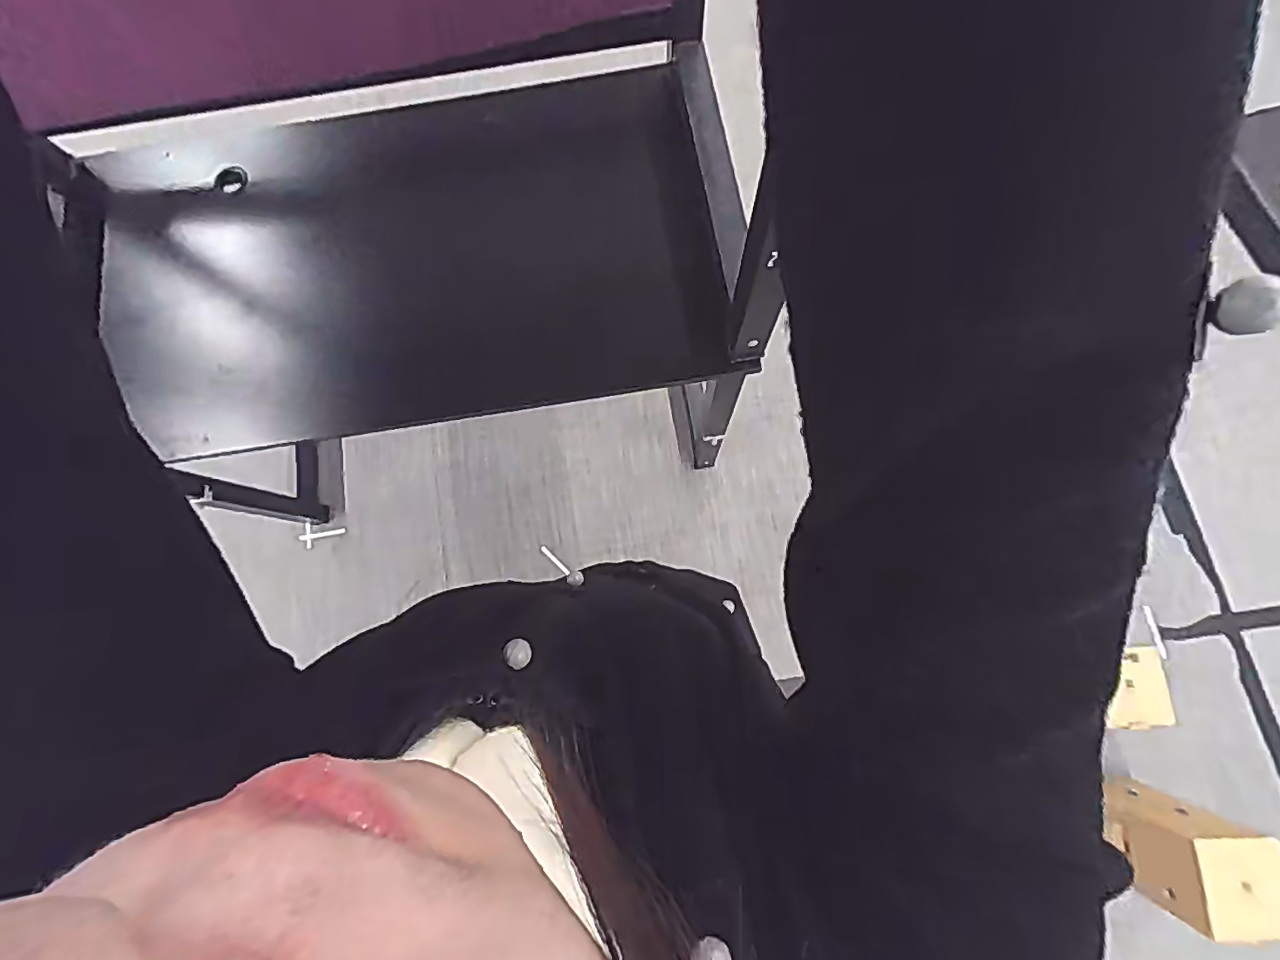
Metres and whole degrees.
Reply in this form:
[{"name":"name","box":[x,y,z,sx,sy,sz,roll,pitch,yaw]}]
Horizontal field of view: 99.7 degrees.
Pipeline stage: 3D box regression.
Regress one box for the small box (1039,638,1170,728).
[{"name":"small box","box":[1.129,0.493,1.329,0.168,0.176,0.179,-4,80,1]}]

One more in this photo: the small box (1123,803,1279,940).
[{"name":"small box","box":[1.151,0.790,1.106,0.168,0.176,0.179,-2,79,1]}]

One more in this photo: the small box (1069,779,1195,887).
[{"name":"small box","box":[1.152,0.818,1.267,0.179,0.176,0.168,-3,79,1]}]
